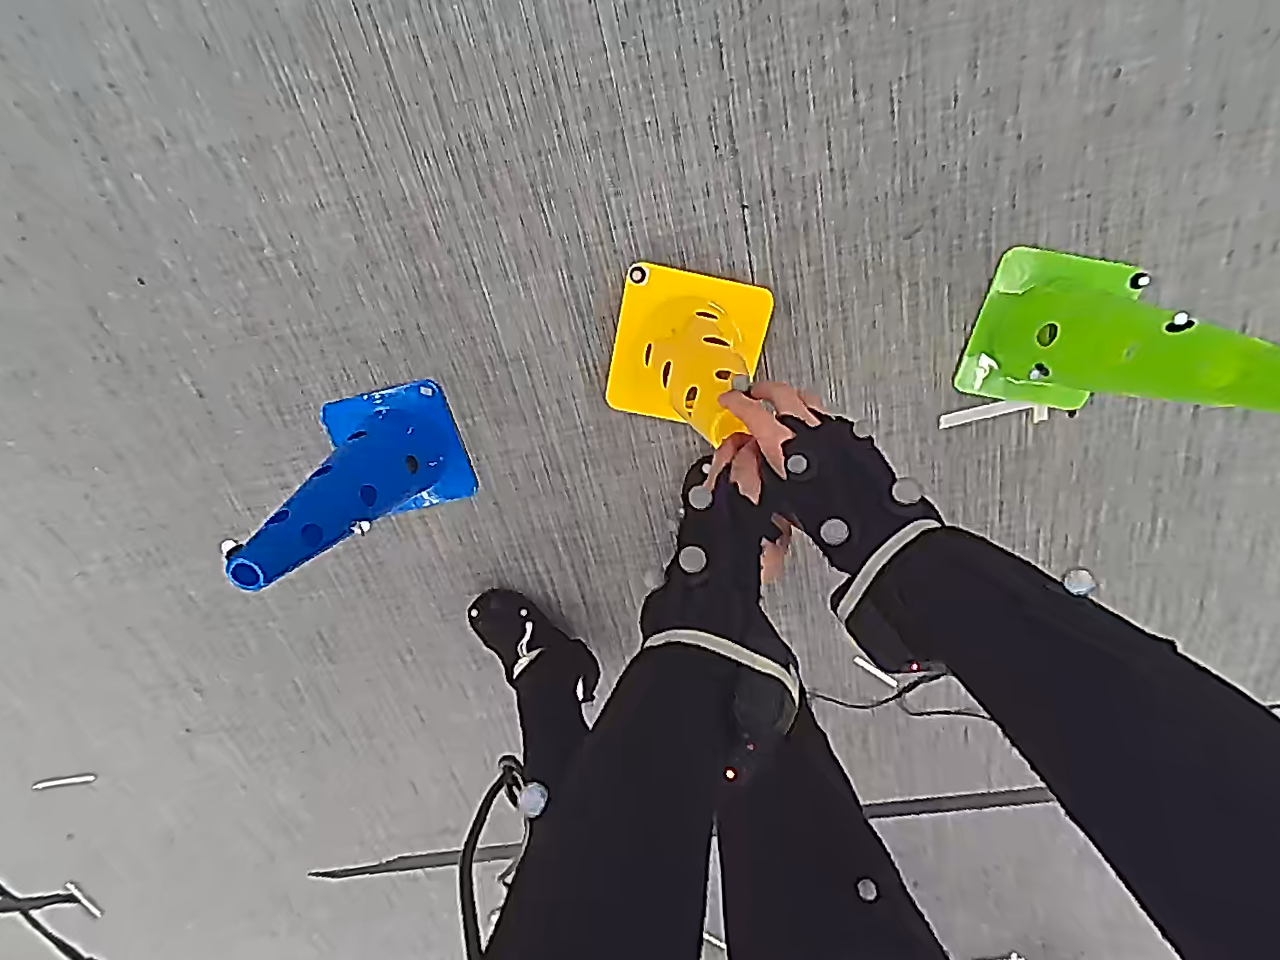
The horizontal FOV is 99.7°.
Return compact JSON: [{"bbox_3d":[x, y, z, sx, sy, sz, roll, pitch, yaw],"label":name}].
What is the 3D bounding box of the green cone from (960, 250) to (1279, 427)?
[{"bbox_3d":[0.563,-0.132,0.594,0.200,0.368,0.202,9,114,-1],"label":"green cone"}]
